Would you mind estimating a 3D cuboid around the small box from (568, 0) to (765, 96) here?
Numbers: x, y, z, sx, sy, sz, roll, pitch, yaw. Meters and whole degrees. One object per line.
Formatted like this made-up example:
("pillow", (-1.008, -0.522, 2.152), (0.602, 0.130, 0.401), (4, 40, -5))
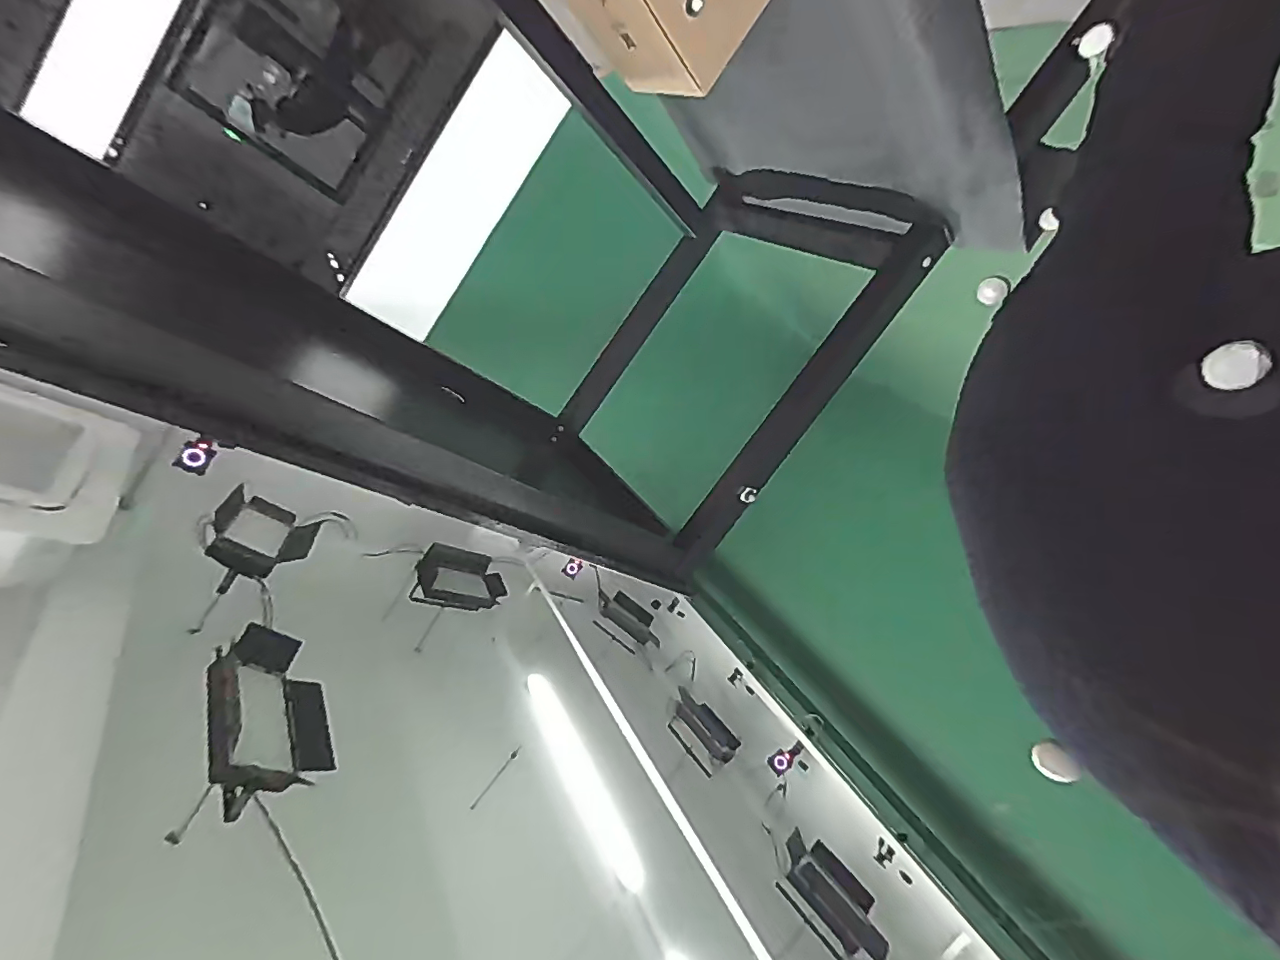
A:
("small box", (0.033, -0.595, 0.627), (0.179, 0.176, 0.168), (28, -169, -47))
